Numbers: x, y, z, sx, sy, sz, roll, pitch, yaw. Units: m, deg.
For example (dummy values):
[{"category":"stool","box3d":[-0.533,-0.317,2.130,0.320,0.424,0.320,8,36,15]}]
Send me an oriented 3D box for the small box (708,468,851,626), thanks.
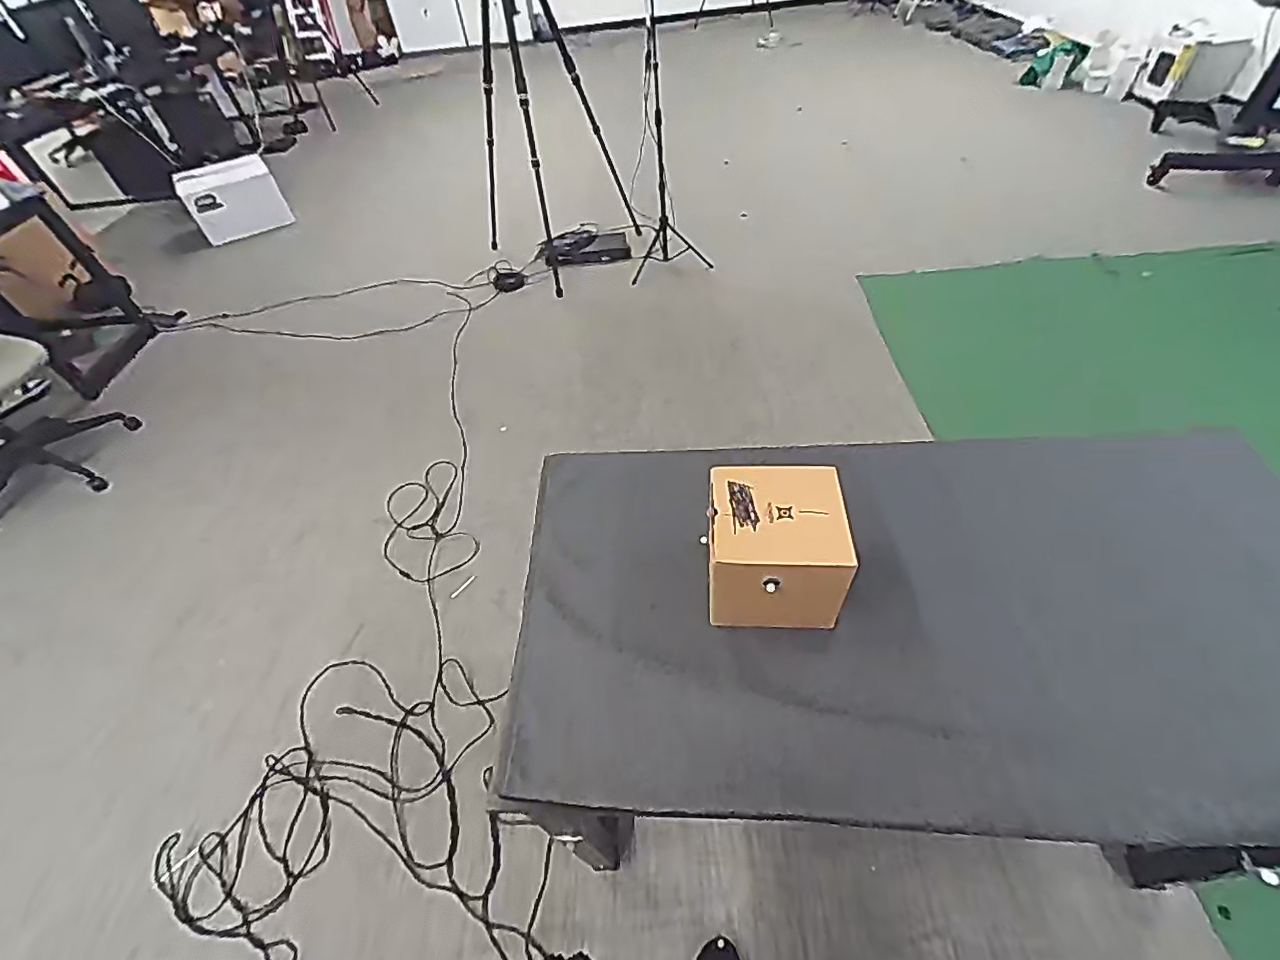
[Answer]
[{"category":"small box","box3d":[0.187,0.099,0.784,0.179,0.176,0.168,1,48,5]}]
